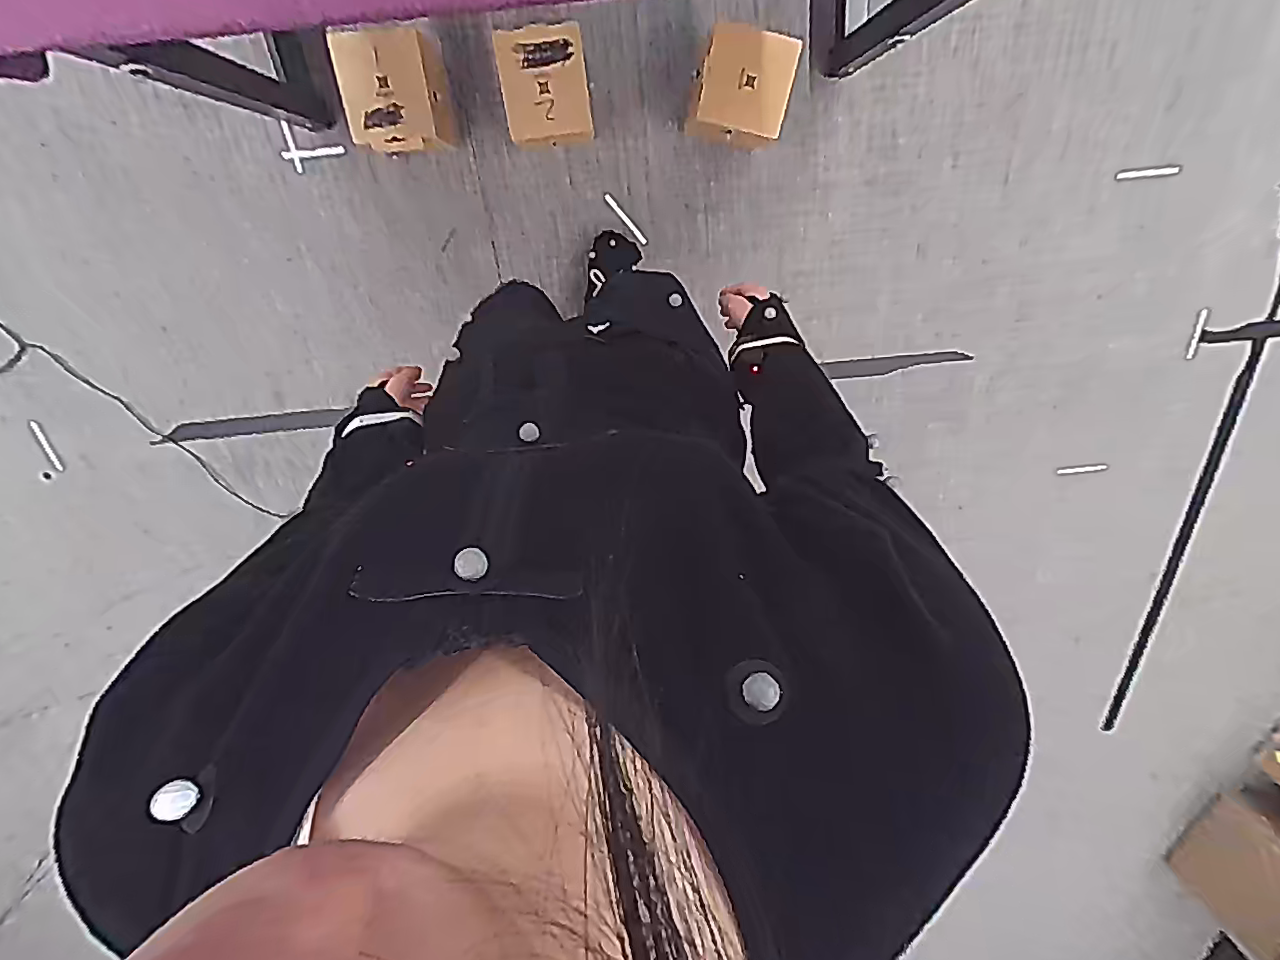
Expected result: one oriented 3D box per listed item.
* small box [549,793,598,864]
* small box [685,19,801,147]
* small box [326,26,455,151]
[{"bbox_3d":[-0.256,1.368,2.128,0.168,0.176,0.179,-7,117,-1],"label":"small box"},{"bbox_3d":[0.203,-0.808,1.121,0.179,0.176,0.168,9,115,-7],"label":"small box"},{"bbox_3d":[-0.486,-0.772,1.087,0.168,0.176,0.179,-6,115,-1],"label":"small box"}]
